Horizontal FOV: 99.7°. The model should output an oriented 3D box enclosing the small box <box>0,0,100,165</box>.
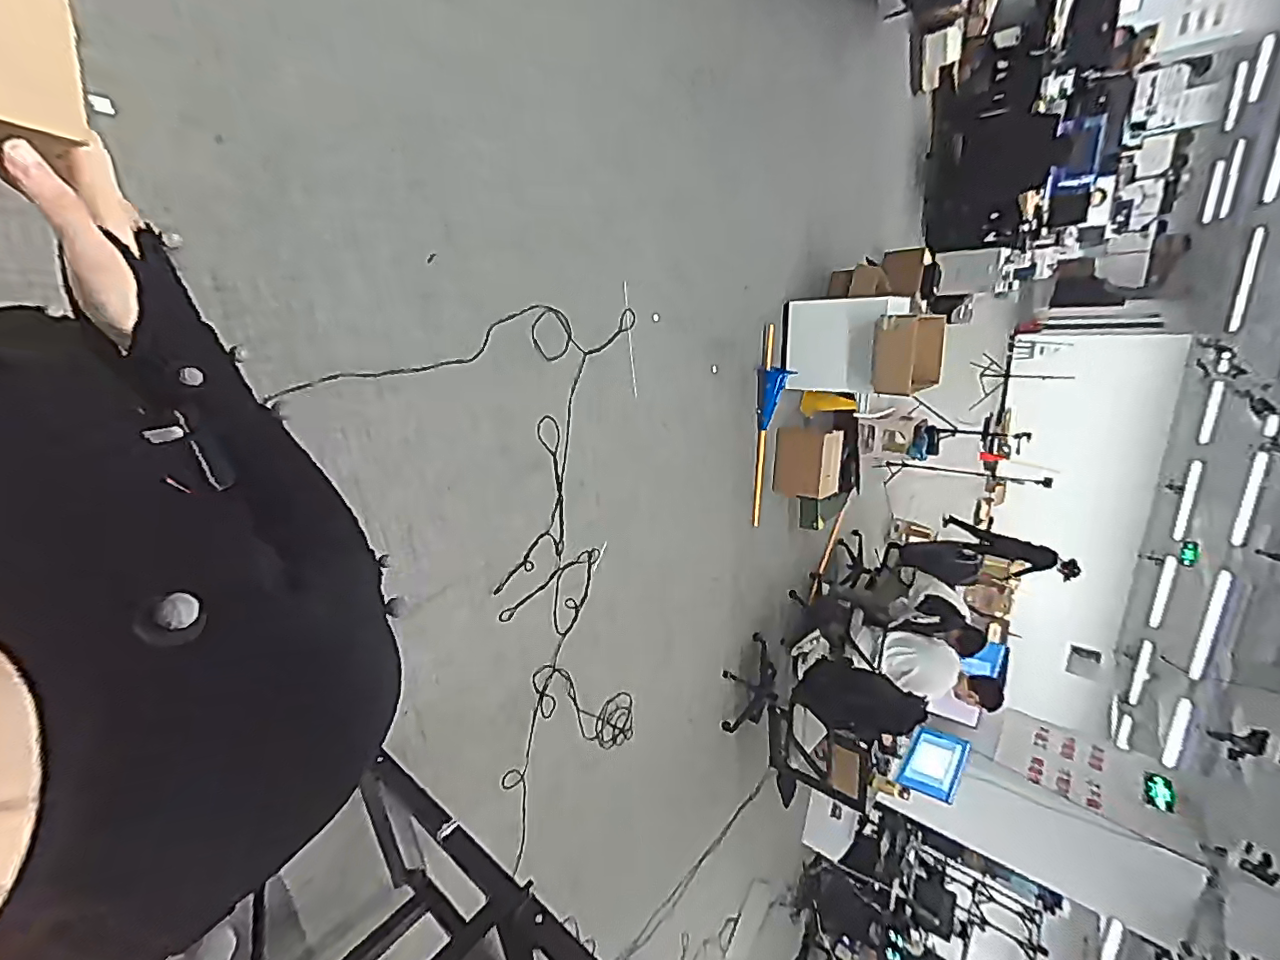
[{"bbox_3d":[-0.394,-0.259,0.233,0.168,0.176,0.179,-24,121,-65],"label":"small box"}]
